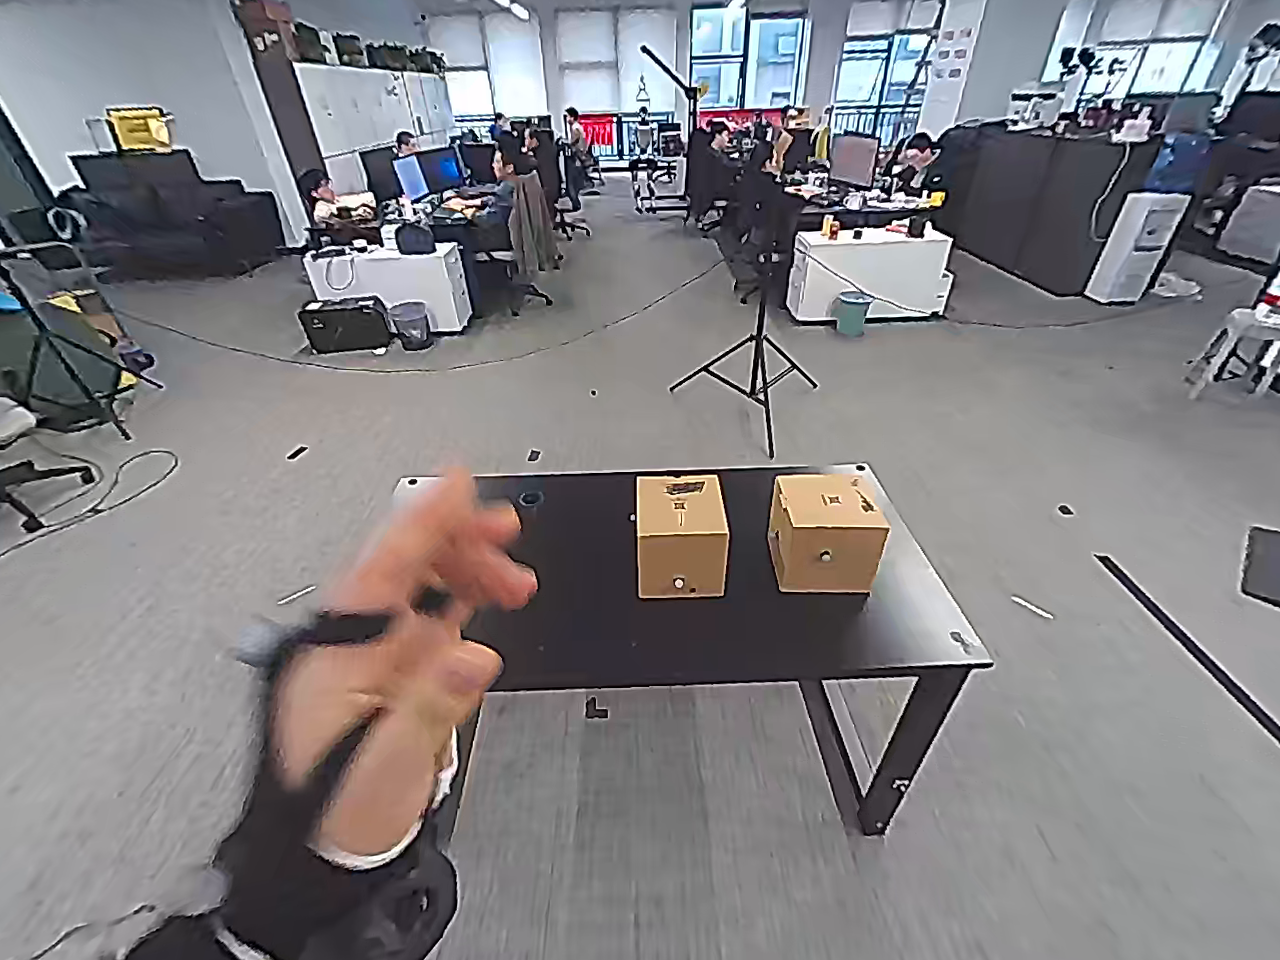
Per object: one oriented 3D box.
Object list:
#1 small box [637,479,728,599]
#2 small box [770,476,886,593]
[{"bbox_3d":[0.077,0.115,1.074,0.168,0.176,0.179,-2,36,1],"label":"small box"},{"bbox_3d":[0.358,0.108,1.069,0.179,0.176,0.168,-1,35,3],"label":"small box"}]
